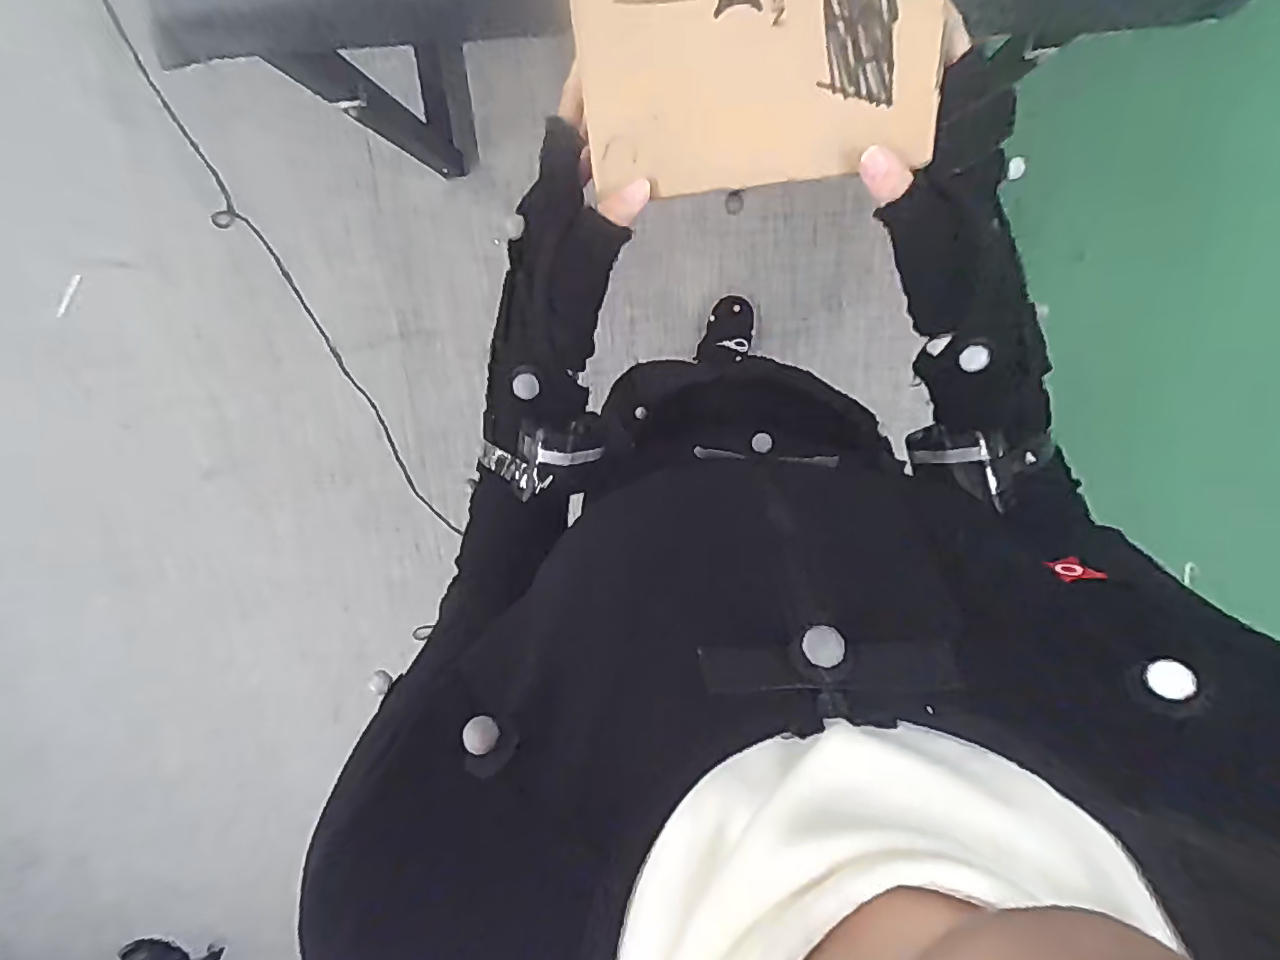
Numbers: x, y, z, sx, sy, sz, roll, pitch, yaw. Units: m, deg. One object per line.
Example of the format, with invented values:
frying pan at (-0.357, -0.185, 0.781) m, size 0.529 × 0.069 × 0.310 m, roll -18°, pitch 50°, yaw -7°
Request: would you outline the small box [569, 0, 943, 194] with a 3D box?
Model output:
small box at (0.058, -0.271, 0.316) m, size 0.179 × 0.176 × 0.168 m, roll -2°, pitch 120°, yaw 7°
